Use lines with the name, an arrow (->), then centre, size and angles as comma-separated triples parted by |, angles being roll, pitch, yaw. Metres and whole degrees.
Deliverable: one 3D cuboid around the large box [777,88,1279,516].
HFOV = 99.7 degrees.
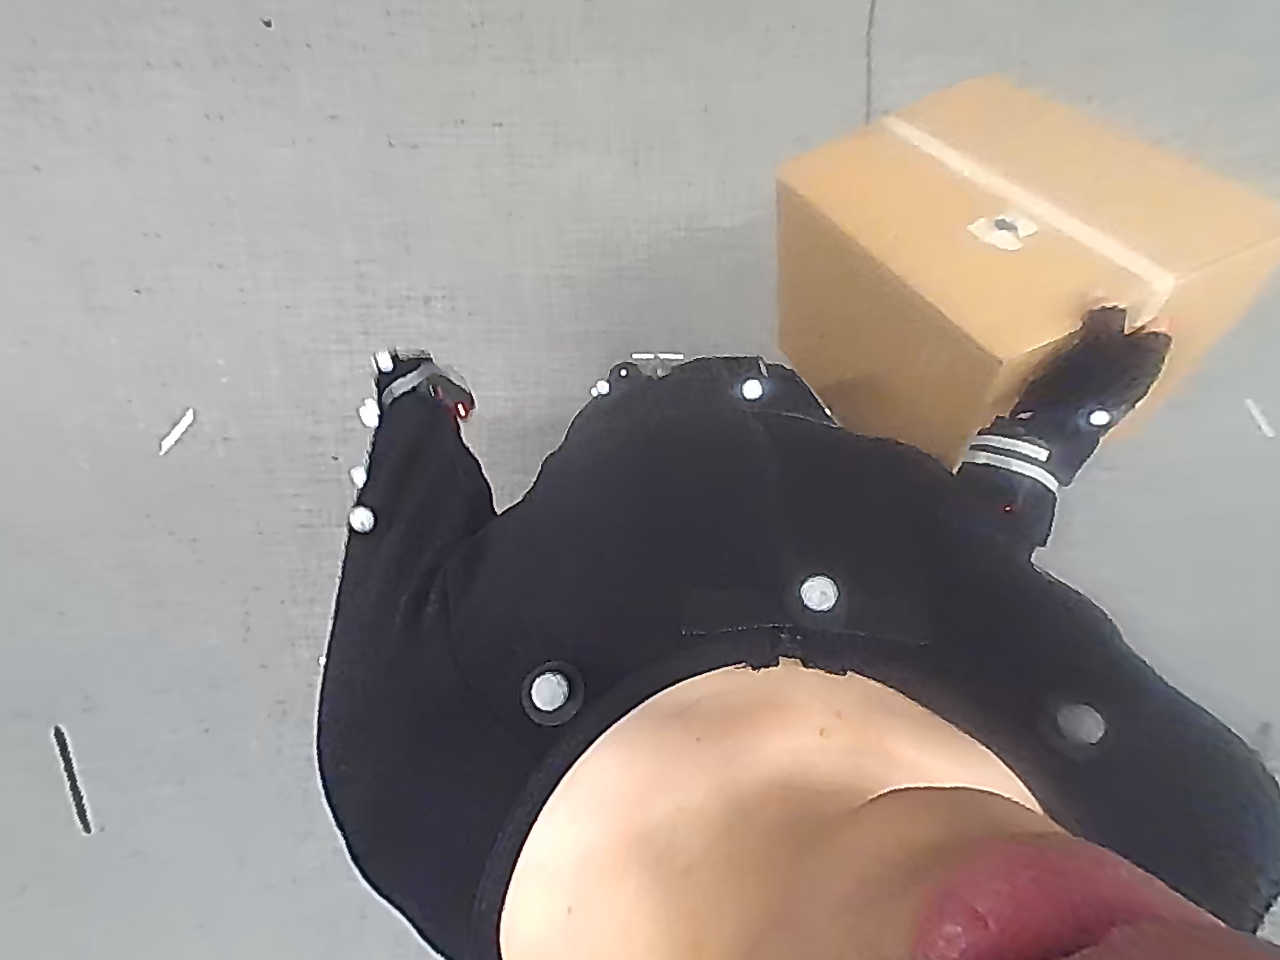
large box -> 0.414, -0.232, 0.715 | 0.320, 0.408, 0.320 | -24, 145, -1
